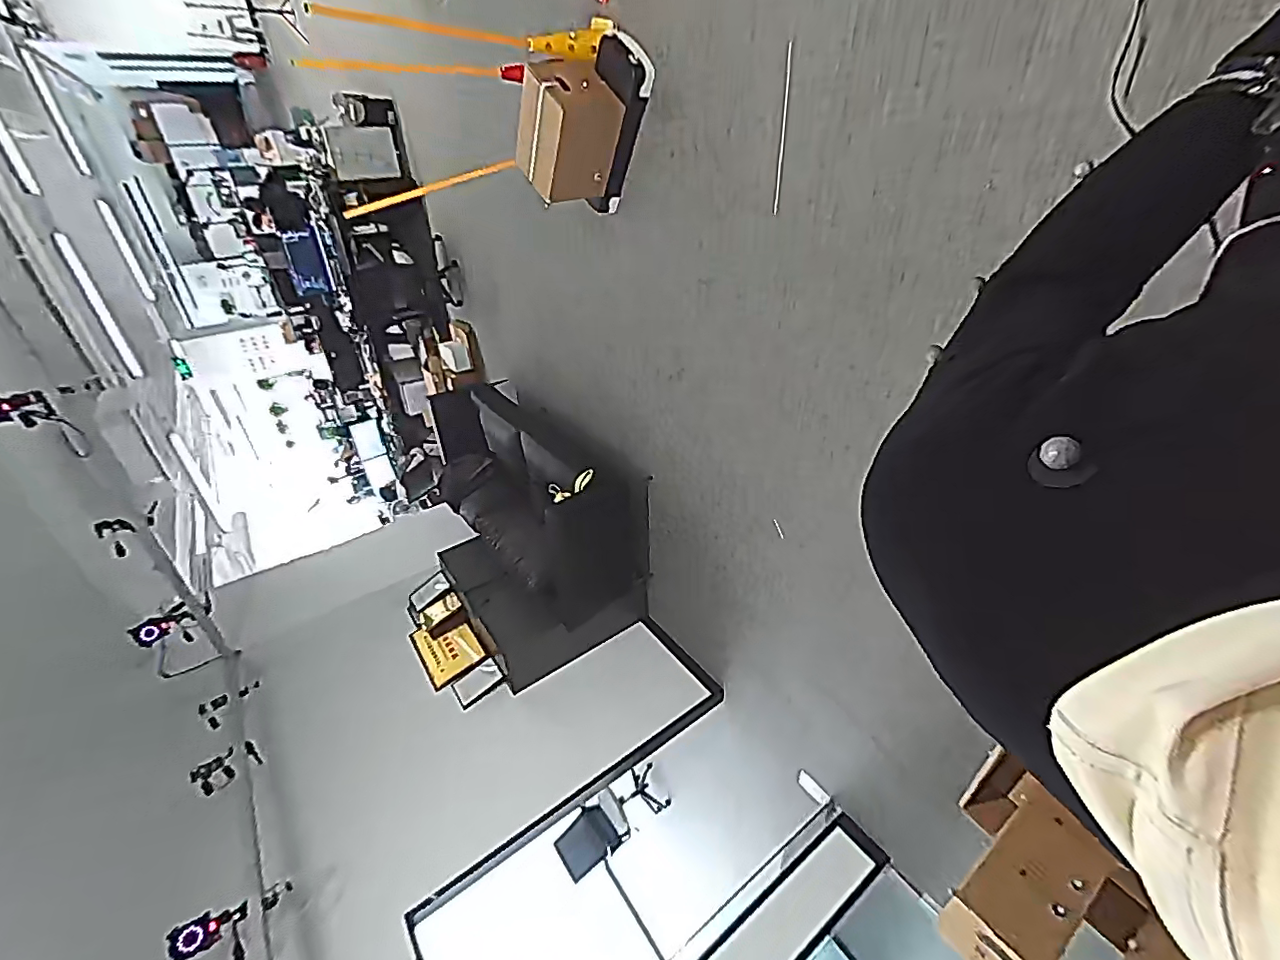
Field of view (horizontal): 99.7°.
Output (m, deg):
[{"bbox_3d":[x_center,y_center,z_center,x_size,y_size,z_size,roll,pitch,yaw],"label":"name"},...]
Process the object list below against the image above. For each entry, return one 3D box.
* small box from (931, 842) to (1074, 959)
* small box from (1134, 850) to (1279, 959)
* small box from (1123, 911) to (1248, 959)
[{"bbox_3d":[0.740,0.893,1.105,0.168,0.176,0.179,38,141,43],"label":"small box"},{"bbox_3d":[1.162,0.899,1.080,0.179,0.176,0.168,39,140,44],"label":"small box"},{"bbox_3d":[1.028,0.953,1.002,0.179,0.176,0.168,36,139,45],"label":"small box"}]
